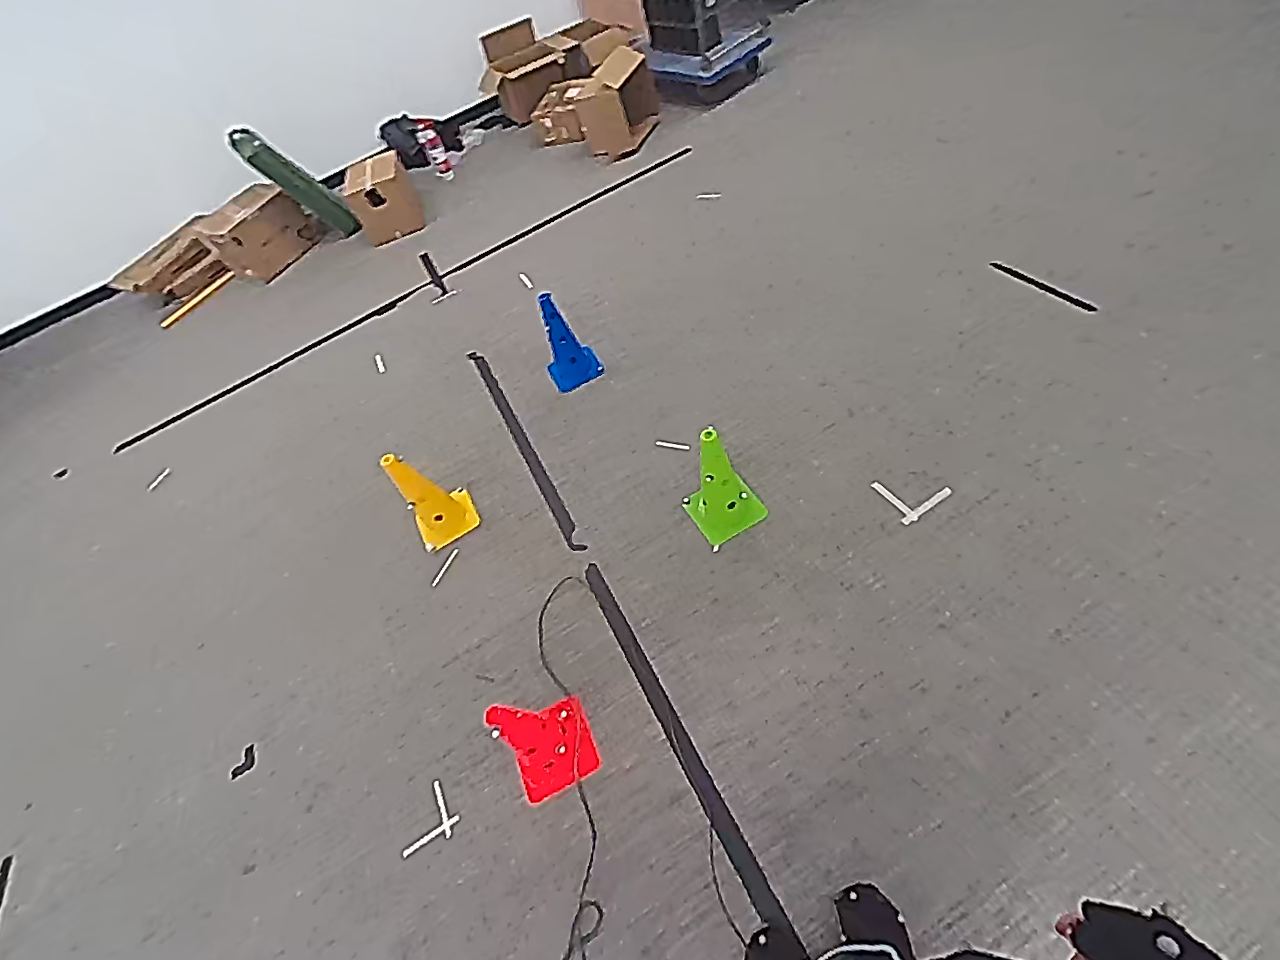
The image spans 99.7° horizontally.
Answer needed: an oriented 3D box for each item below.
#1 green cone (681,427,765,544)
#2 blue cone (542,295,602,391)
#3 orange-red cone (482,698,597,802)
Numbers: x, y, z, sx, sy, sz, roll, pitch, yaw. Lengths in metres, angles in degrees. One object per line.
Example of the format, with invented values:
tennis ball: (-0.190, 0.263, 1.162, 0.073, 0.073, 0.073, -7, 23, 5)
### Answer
green cone: (0.213, -0.014, 1.523, 0.202, 0.368, 0.200, -30, 52, -7)
blue cone: (-0.301, -0.541, 2.074, 0.192, 0.380, 0.193, -27, 52, -5)
orange-red cone: (-0.264, 0.581, 1.238, 0.199, 0.360, 0.198, -28, 51, -3)
